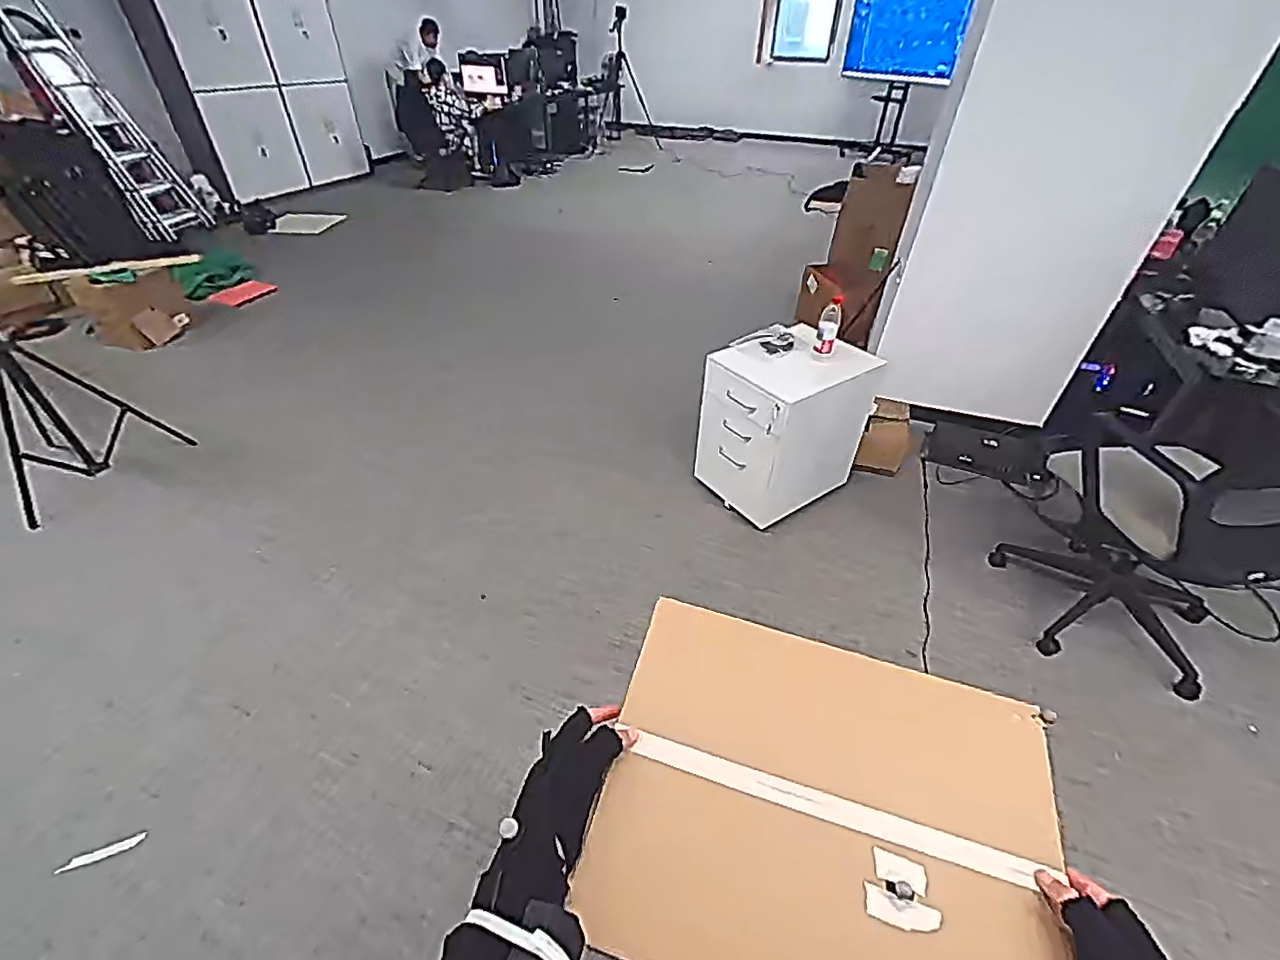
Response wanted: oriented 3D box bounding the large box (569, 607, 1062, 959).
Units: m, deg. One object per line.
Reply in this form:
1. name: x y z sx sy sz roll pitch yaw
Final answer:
1. large box: 0.167 0.398 0.622 0.408 0.320 0.320 14 53 11
